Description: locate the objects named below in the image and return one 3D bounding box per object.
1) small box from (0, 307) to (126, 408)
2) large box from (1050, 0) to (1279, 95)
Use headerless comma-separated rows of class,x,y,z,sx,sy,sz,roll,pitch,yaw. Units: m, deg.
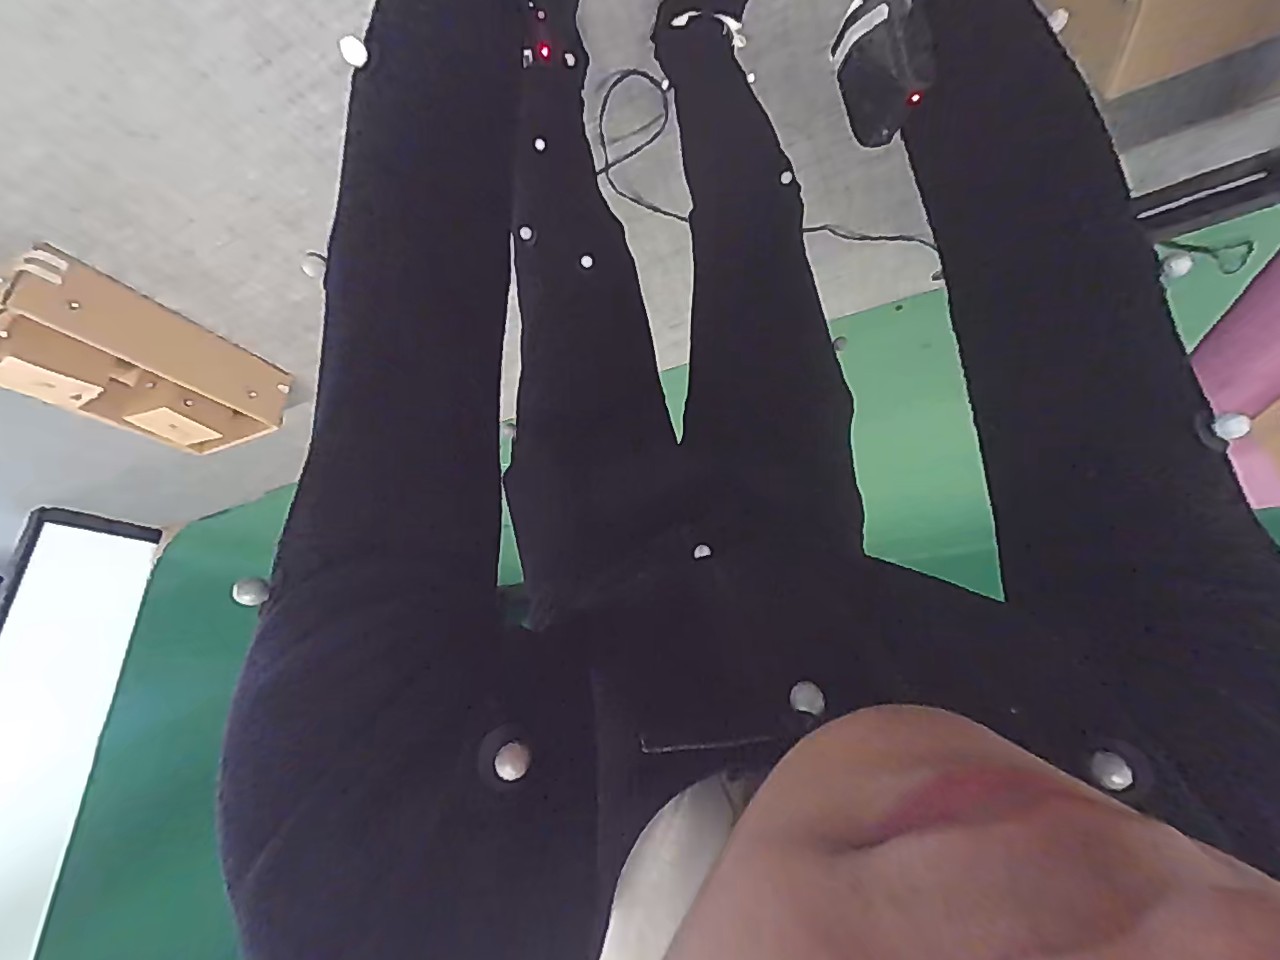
small box,-1.468,-0.313,1.368,0.168,0.176,0.179,-15,154,25
large box,0.731,-0.741,0.580,0.408,0.320,0.320,-14,154,22
